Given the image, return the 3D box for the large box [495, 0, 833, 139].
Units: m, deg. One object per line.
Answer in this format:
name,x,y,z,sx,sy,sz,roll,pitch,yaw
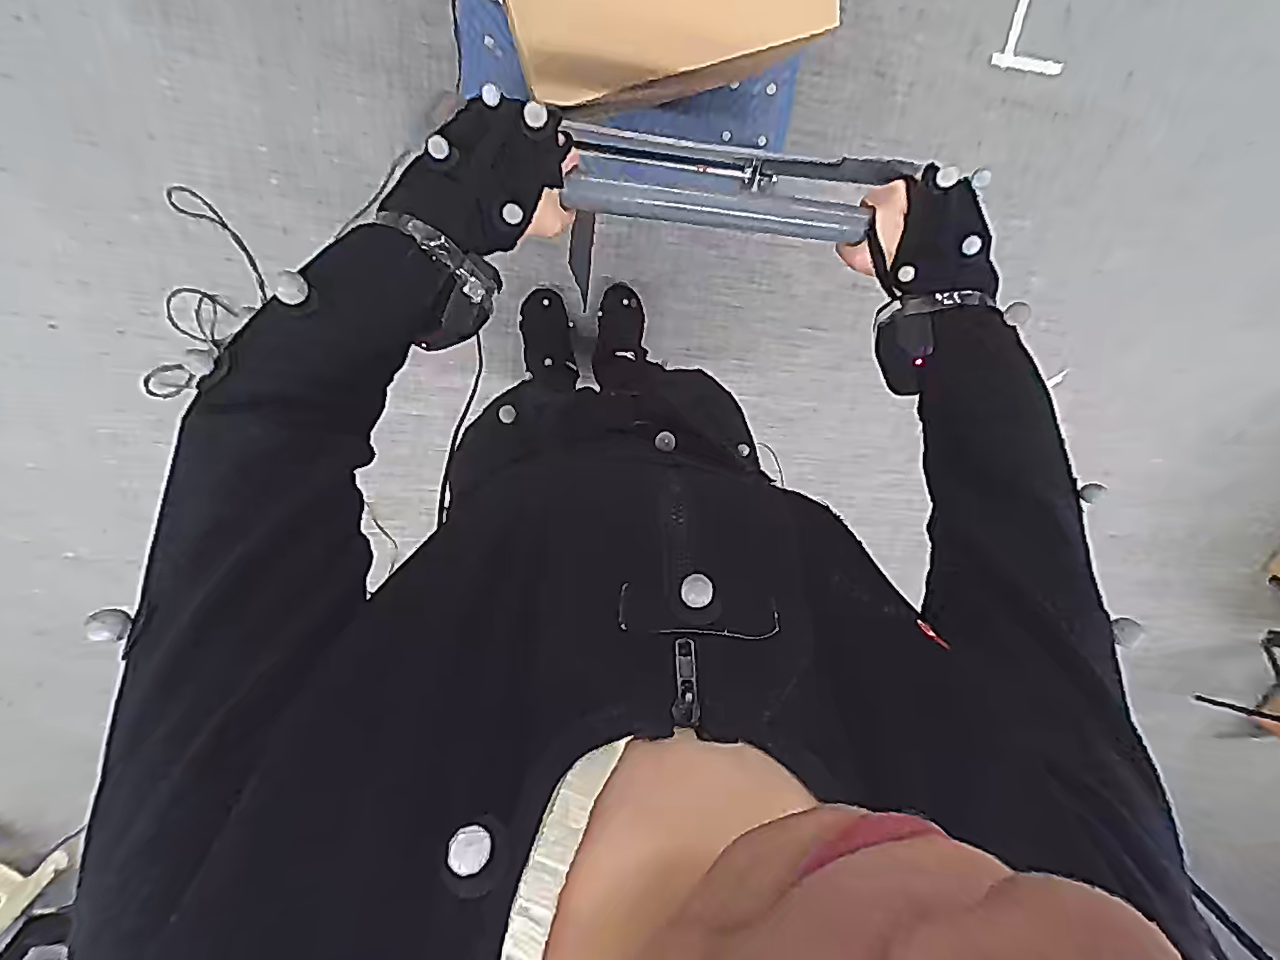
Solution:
large box,-0.003,-0.722,0.756,0.408,0.320,0.320,-18,119,-2
